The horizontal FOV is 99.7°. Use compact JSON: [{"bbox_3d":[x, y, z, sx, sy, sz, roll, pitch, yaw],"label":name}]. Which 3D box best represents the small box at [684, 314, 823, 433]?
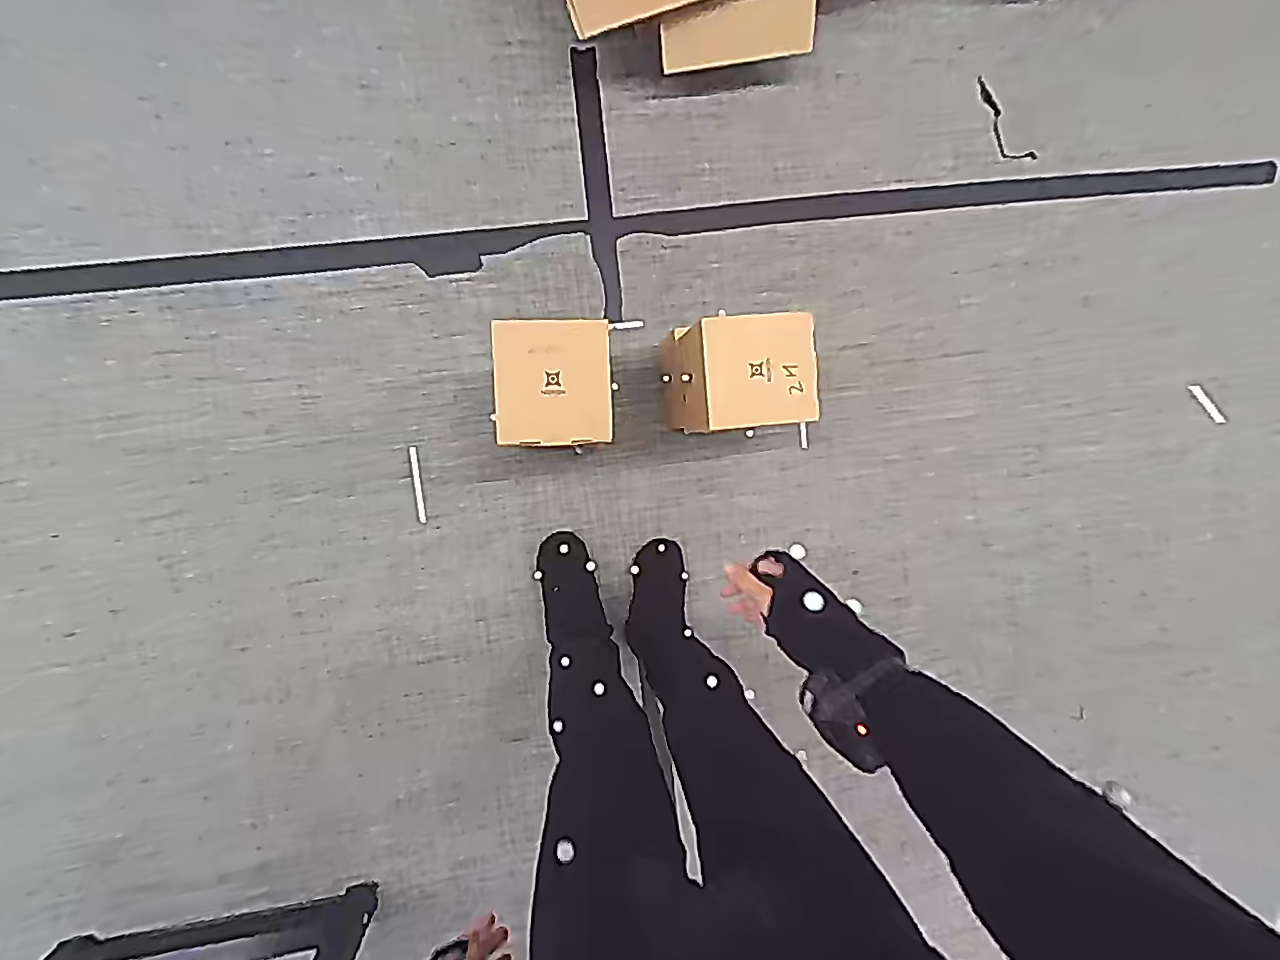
[{"bbox_3d":[0.172,-0.164,0.873,0.179,0.176,0.168,-6,95,-8],"label":"small box"}]

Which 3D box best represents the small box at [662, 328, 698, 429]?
[{"bbox_3d":[0.142,-0.191,1.034,0.168,0.176,0.179,-8,94,-8],"label":"small box"}]

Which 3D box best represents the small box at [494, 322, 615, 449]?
[{"bbox_3d":[-0.129,-0.138,0.836,0.168,0.176,0.179,-3,93,-9],"label":"small box"}]
